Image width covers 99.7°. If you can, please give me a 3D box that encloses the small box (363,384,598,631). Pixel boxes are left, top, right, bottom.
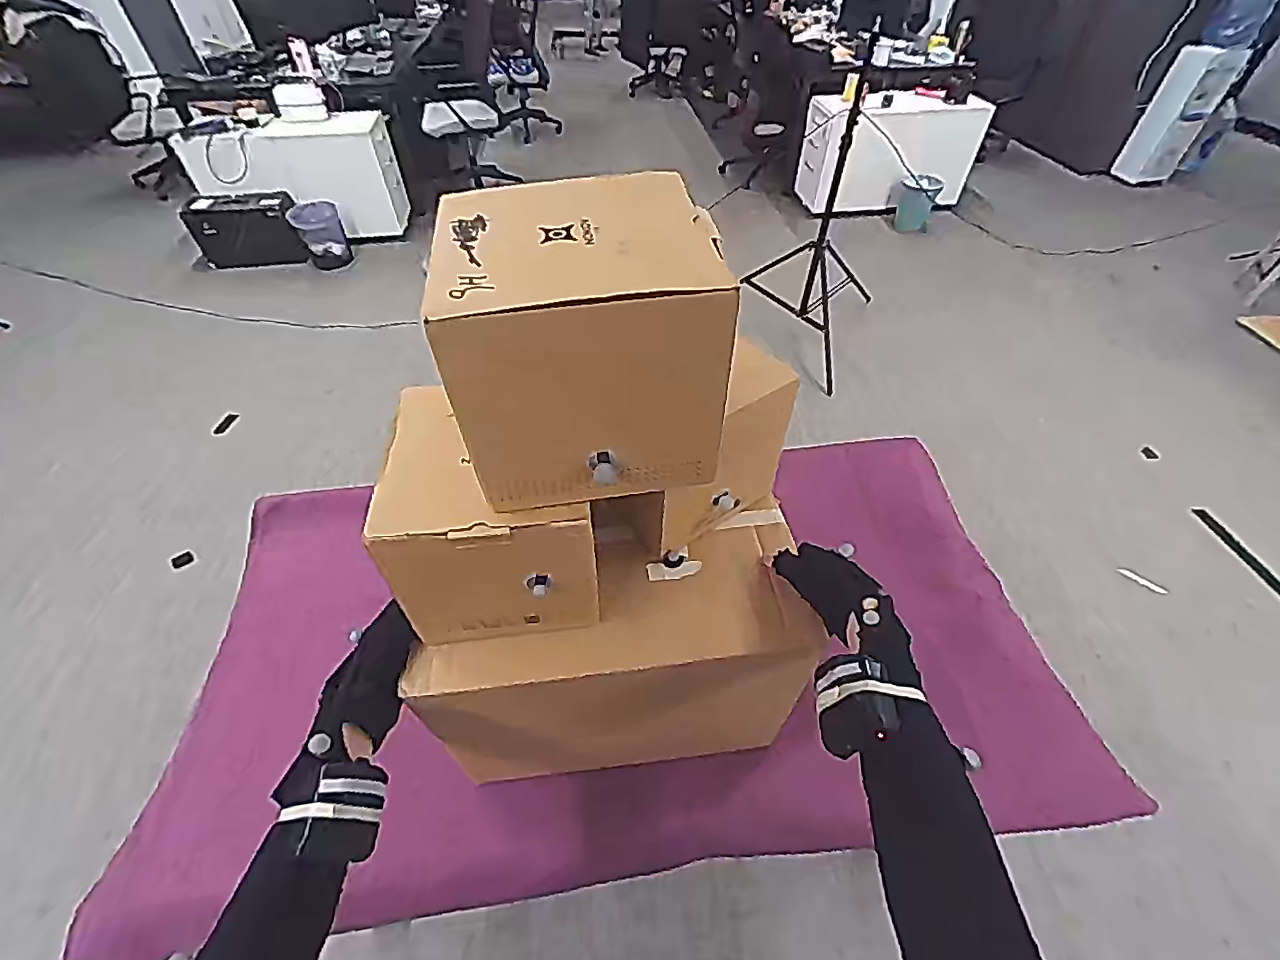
[{"bbox_3d":[-0.128,0.026,0.503,0.168,0.176,0.179,-5,47,-6],"label":"small box"}]

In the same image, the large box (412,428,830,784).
[{"bbox_3d":[-0.035,0.162,0.707,0.408,0.320,0.320,-6,49,-6],"label":"large box"}]

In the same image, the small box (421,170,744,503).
[{"bbox_3d":[-0.040,-0.103,0.398,0.179,0.176,0.168,-8,49,-6],"label":"small box"}]
